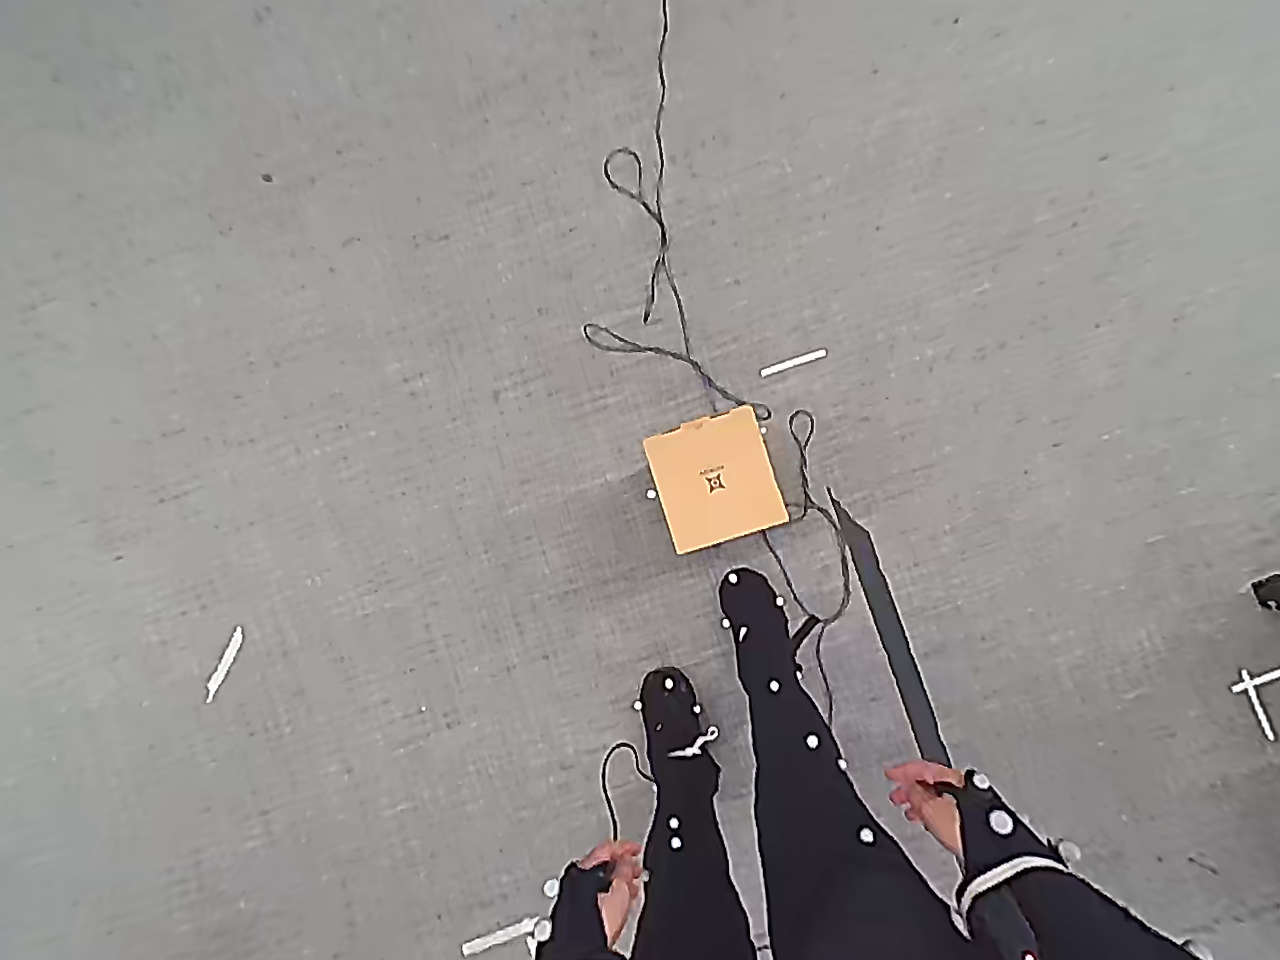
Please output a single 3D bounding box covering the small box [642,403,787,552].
[{"bbox_3d":[0.111,0.000,0.837,0.168,0.176,0.179,-18,85,4],"label":"small box"}]
